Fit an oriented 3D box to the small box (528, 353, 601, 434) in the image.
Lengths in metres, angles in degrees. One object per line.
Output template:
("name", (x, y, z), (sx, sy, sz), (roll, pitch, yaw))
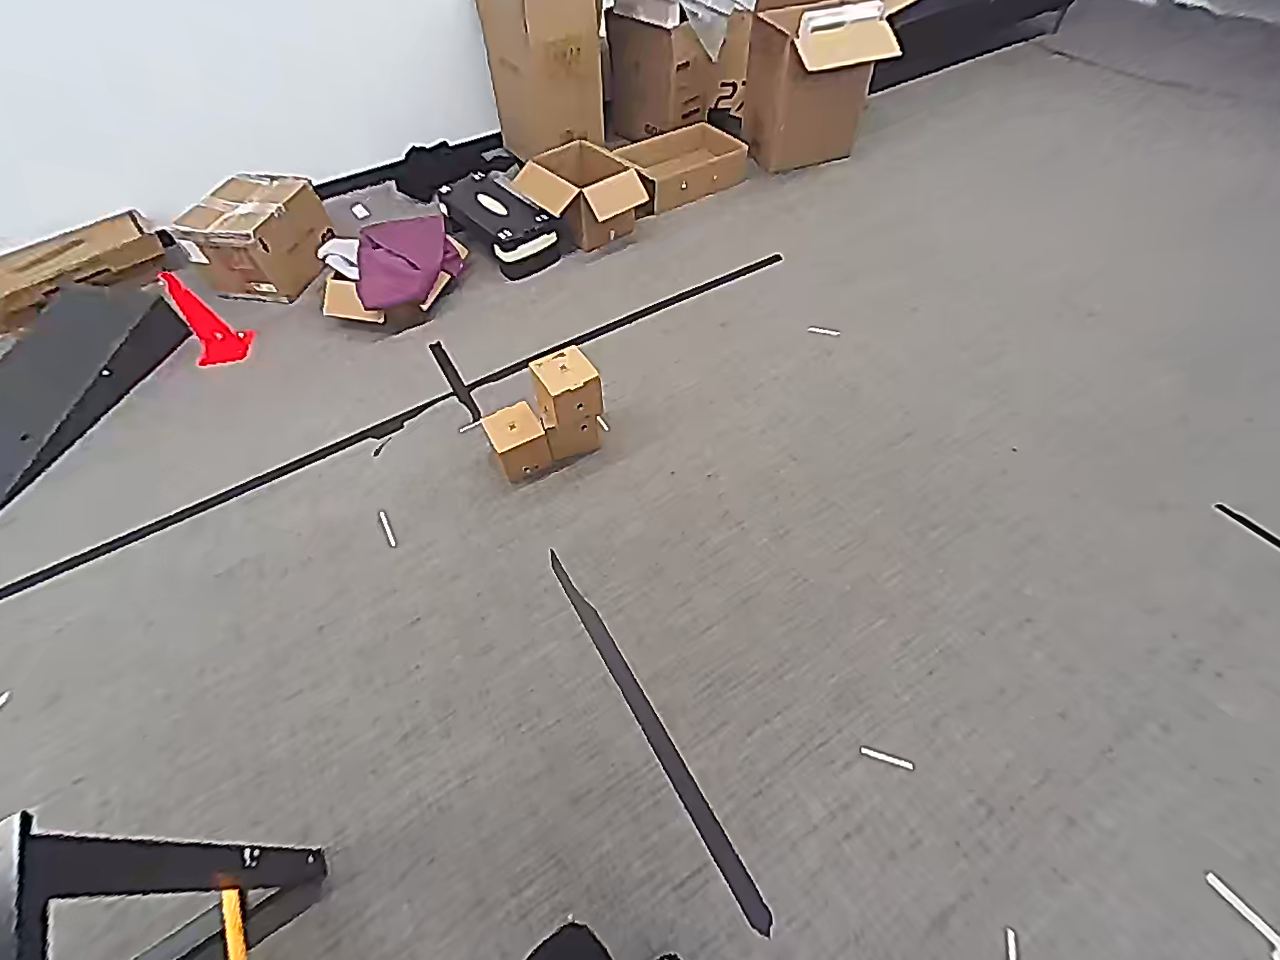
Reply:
("small box", (-0.236, -0.270, 1.740), (0.168, 0.176, 0.179), (-27, 58, -17))
